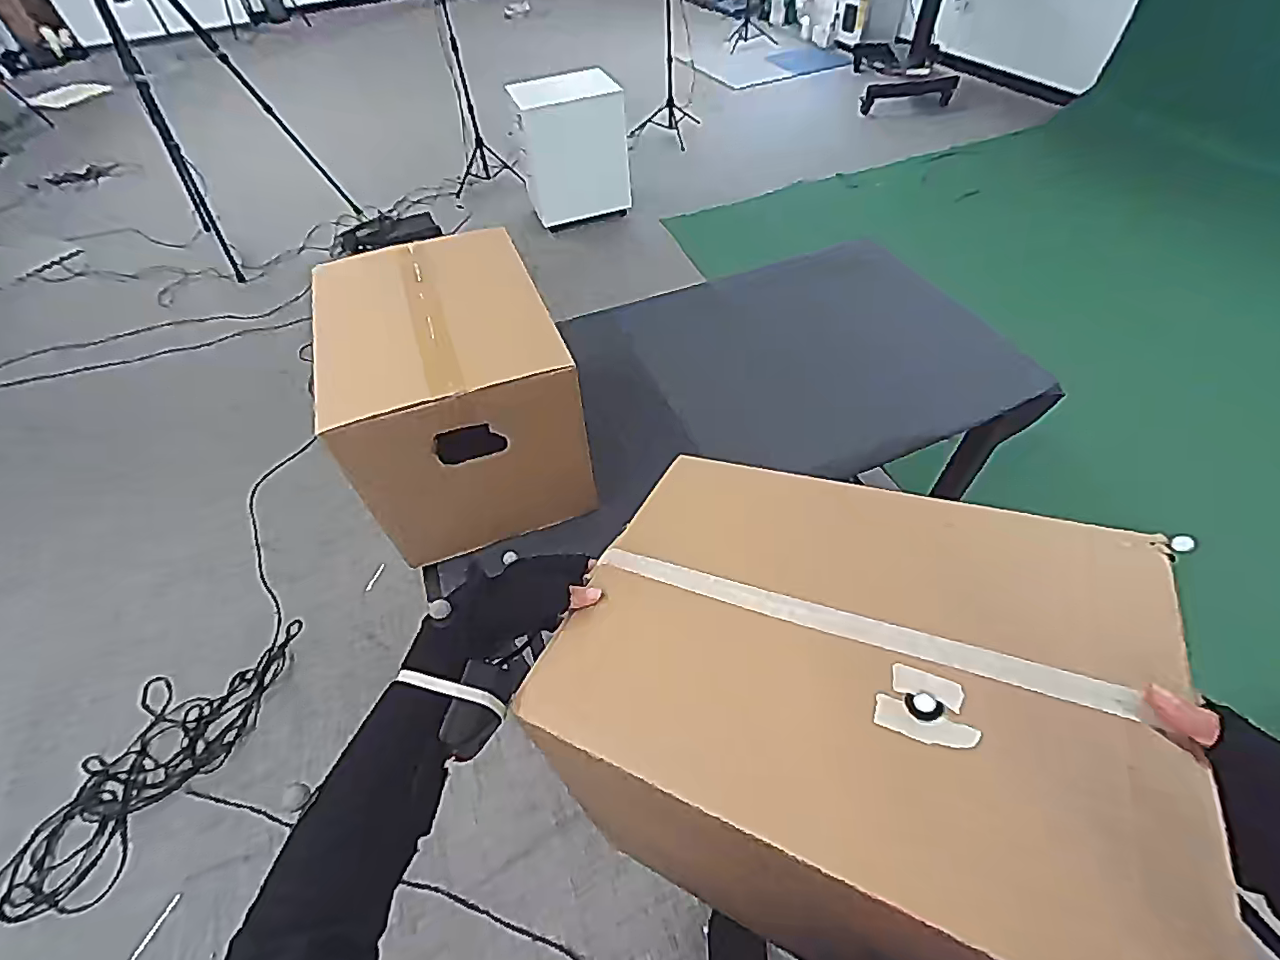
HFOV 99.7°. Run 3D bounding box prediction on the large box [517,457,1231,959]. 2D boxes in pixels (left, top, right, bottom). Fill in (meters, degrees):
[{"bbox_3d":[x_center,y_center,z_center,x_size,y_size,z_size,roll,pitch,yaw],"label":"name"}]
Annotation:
[{"bbox_3d":[0.172,0.216,0.501,0.408,0.320,0.320,12,47,28],"label":"large box"}]
